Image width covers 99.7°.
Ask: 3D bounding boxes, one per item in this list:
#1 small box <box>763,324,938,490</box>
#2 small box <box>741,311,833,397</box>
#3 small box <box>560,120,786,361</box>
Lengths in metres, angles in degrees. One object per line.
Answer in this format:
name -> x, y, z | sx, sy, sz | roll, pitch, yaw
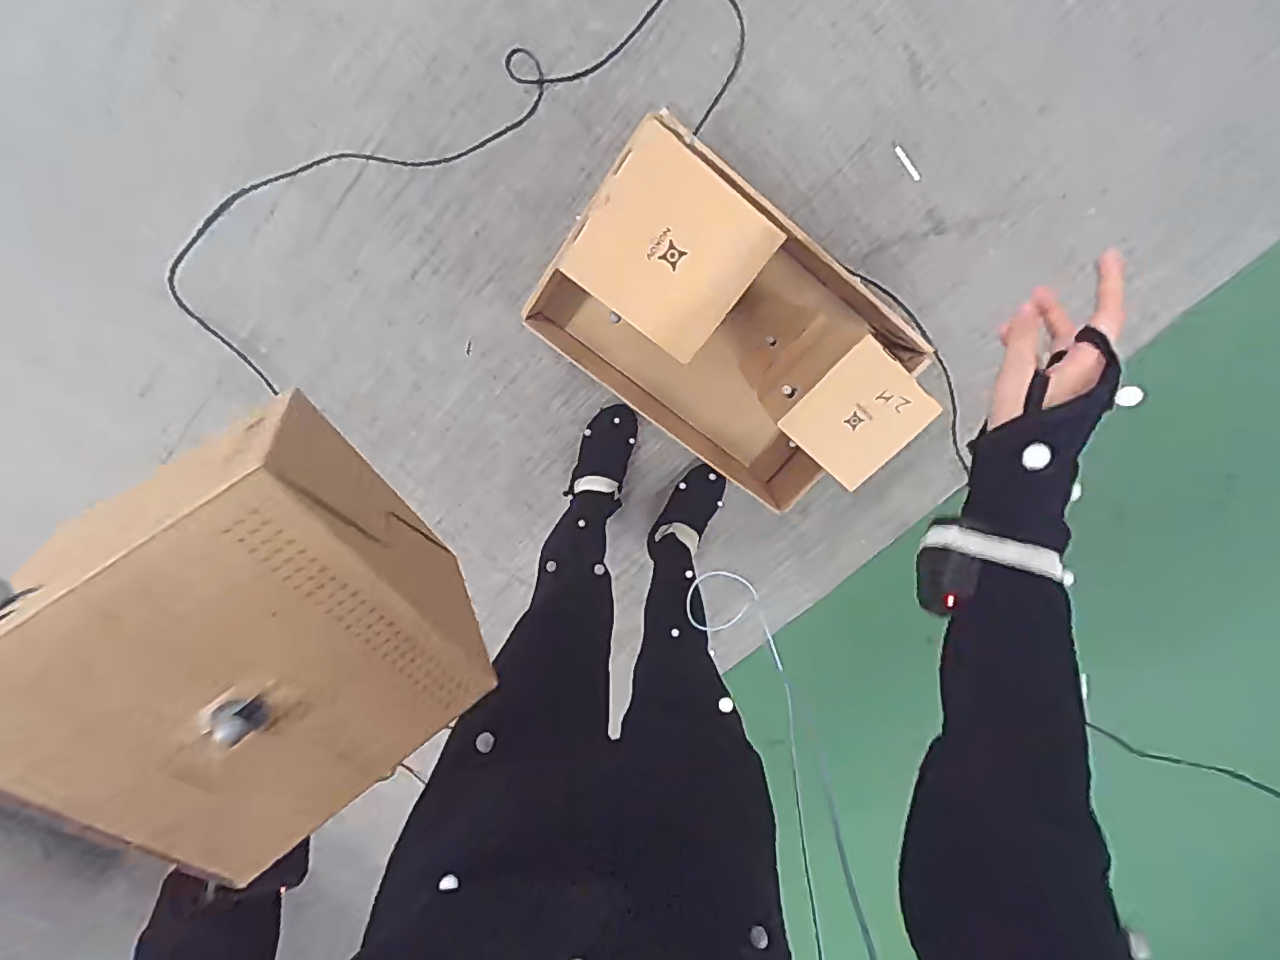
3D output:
small box -> 0.312, -0.121, 0.849 | 0.168, 0.176, 0.179 | 40, 107, -14
small box -> 0.307, -0.193, 0.998 | 0.179, 0.176, 0.168 | 40, 108, -13
small box -> 0.037, -0.268, 0.626 | 0.179, 0.176, 0.168 | 36, 111, -11
